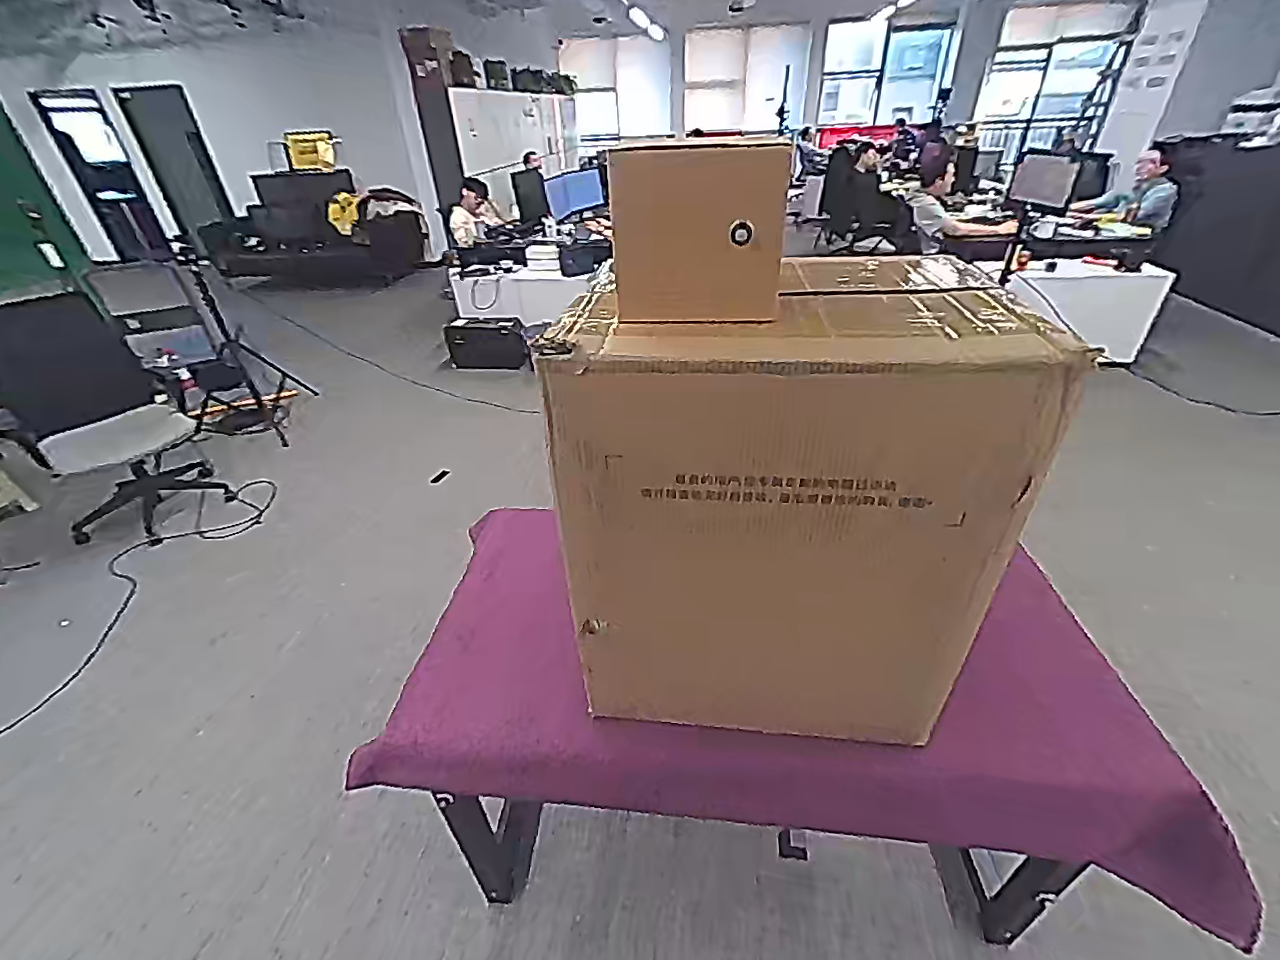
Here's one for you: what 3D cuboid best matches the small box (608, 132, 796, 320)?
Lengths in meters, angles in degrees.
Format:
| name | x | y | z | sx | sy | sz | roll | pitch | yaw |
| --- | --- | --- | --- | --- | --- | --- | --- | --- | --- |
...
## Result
| name | x | y | z | sx | sy | sz | roll | pitch | yaw |
| --- | --- | --- | --- | --- | --- | --- | --- | --- | --- |
| small box | 0.065 | -0.287 | 0.609 | 0.179 | 0.176 | 0.168 | 0 | 34 | 4 |
